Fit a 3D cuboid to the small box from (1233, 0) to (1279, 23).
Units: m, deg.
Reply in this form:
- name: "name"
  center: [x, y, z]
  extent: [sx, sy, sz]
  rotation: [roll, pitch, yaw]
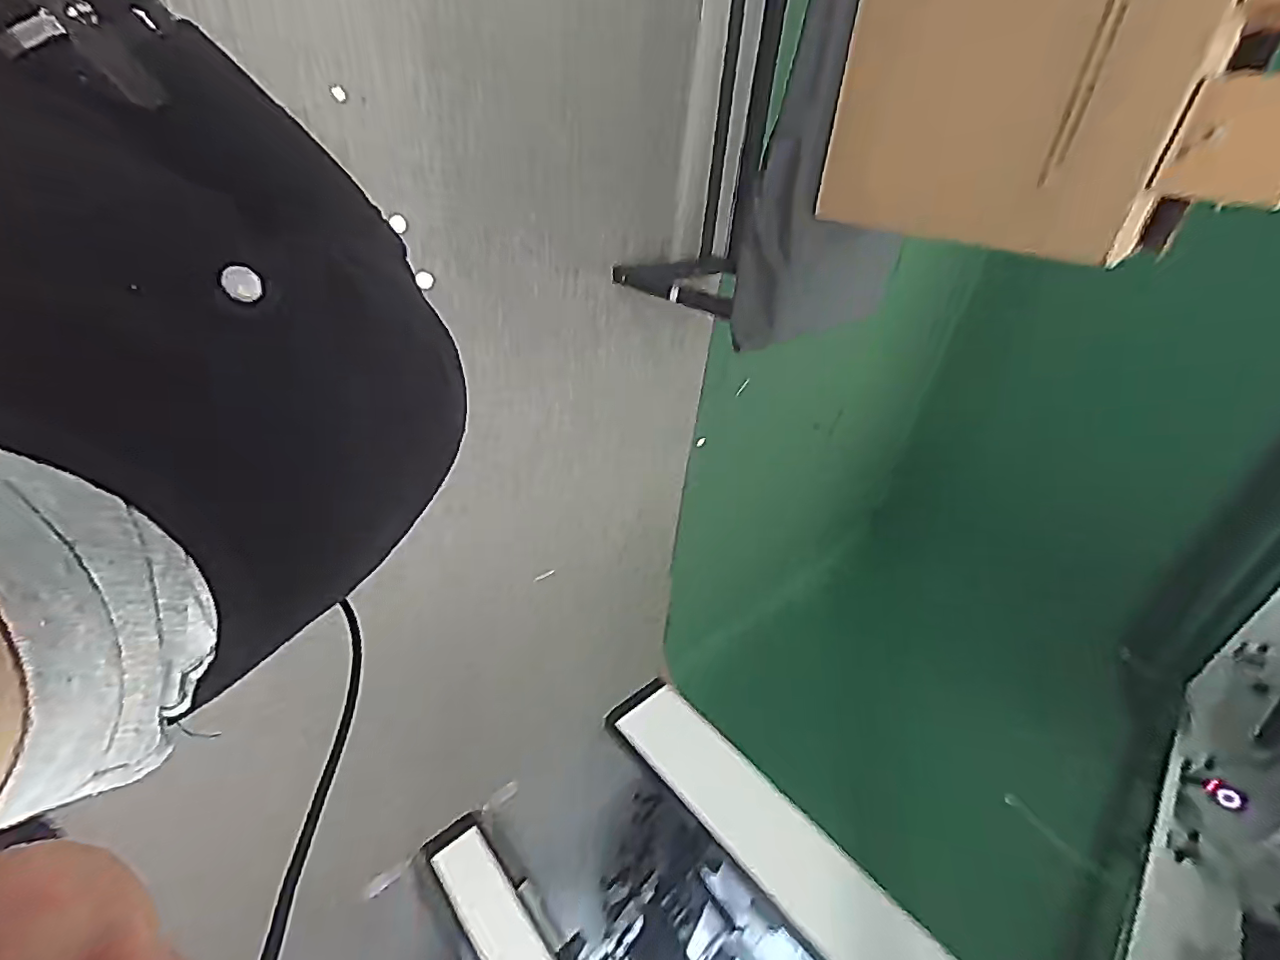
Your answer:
- name: "small box"
  center: [0.988, -0.774, 0.752]
  extent: [0.168, 0.176, 0.179]
  rotation: [-20, 128, -38]

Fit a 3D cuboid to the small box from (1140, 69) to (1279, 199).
- name: "small box"
  center: [0.983, -0.567, 0.891]
  extent: [0.179, 0.176, 0.168]
  rotation: [-24, 132, -35]
